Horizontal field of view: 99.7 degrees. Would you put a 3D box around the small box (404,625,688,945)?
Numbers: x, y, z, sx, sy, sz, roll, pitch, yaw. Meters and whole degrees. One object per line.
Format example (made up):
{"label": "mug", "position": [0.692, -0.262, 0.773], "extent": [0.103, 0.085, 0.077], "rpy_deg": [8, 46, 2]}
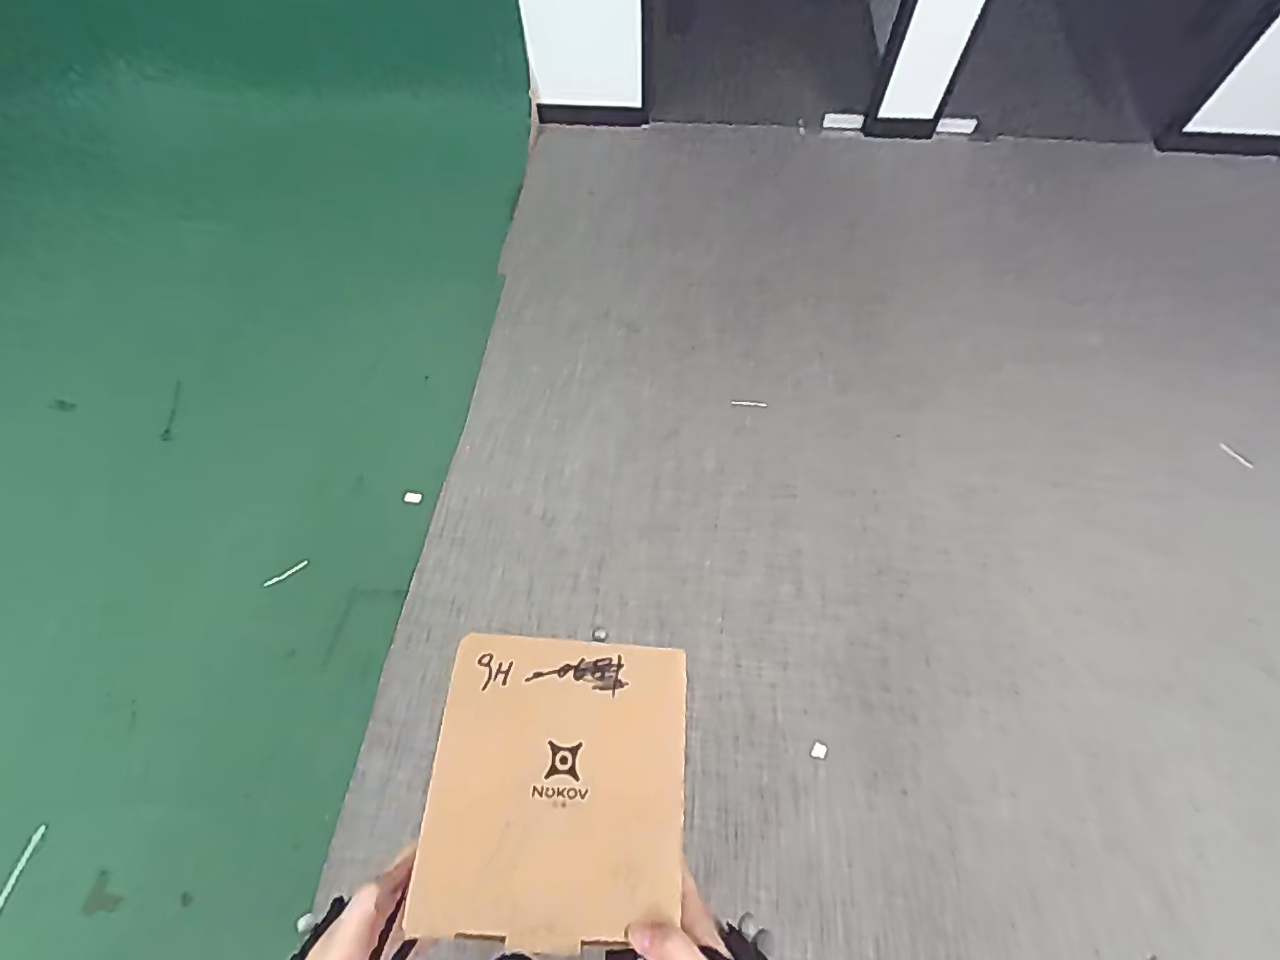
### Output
{"label": "small box", "position": [-0.058, 0.222, 0.425], "extent": [0.168, 0.176, 0.179], "rpy_deg": [5, 64, -2]}
